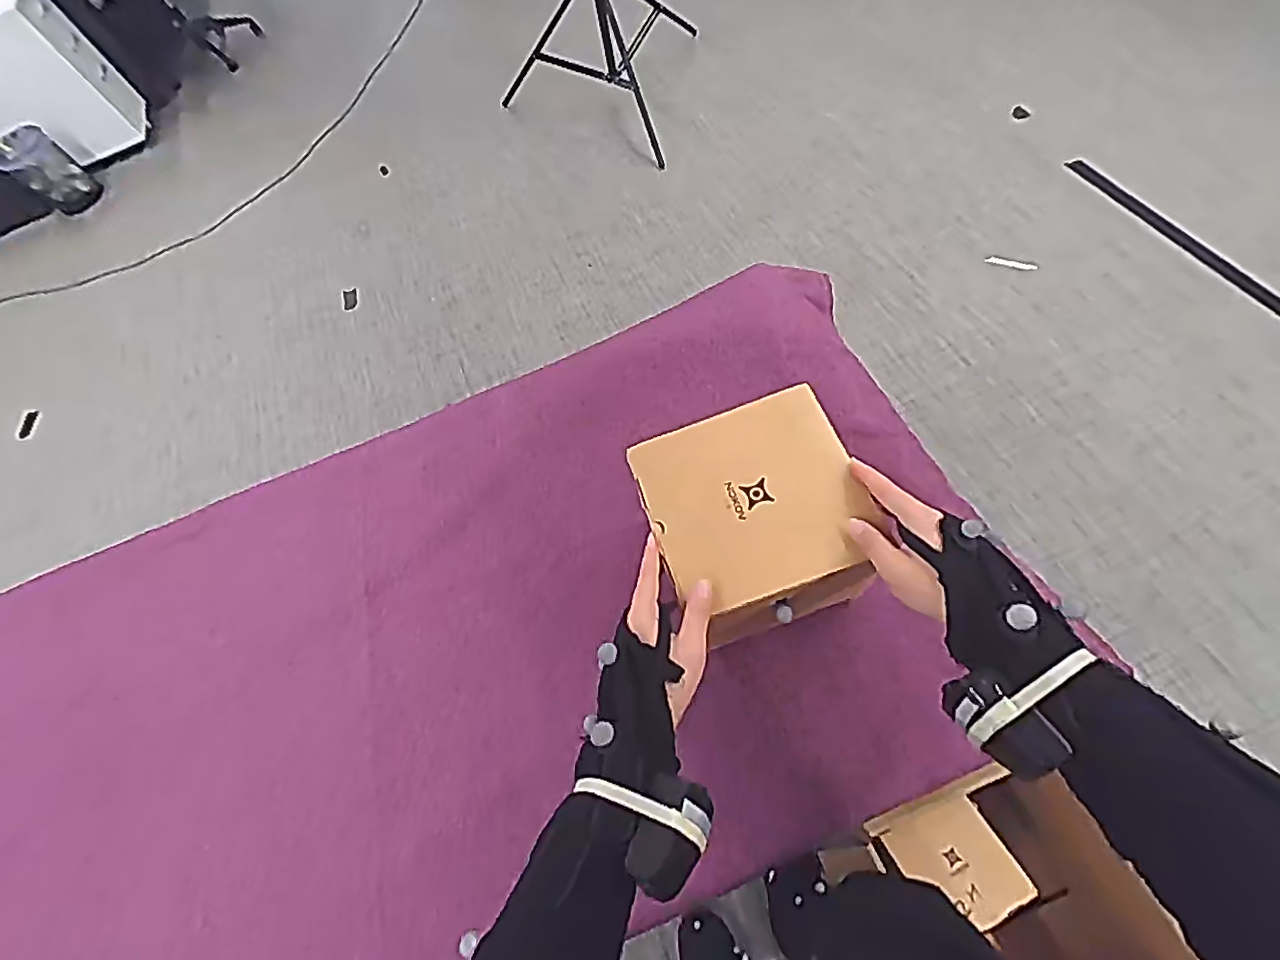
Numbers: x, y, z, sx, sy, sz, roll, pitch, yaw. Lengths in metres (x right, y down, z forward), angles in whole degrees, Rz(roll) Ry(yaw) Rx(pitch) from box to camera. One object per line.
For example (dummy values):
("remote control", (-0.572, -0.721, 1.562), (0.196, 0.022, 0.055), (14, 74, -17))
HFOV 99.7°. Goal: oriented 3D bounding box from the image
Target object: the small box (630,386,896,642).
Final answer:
("small box", (0.107, 0.044, 0.522), (0.179, 0.176, 0.168), (-21, 65, 2))
